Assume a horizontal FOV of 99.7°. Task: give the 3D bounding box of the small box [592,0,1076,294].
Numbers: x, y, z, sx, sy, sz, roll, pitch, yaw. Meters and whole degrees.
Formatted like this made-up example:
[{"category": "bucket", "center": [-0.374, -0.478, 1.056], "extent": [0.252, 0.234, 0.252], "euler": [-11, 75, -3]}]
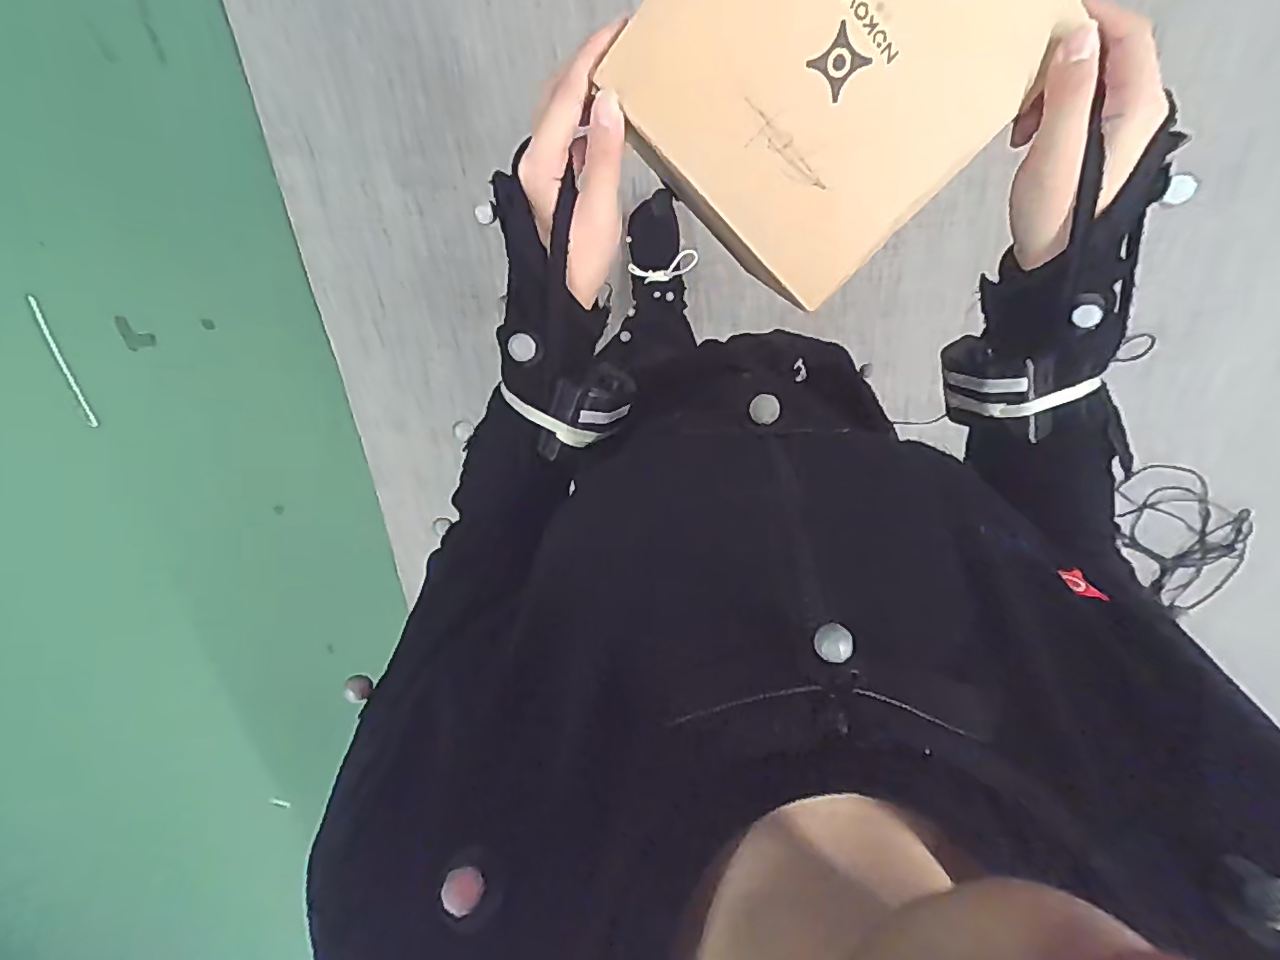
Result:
[{"category": "small box", "center": [0.088, -0.248, 0.325], "extent": [0.168, 0.176, 0.179], "euler": [38, 112, -20]}]
